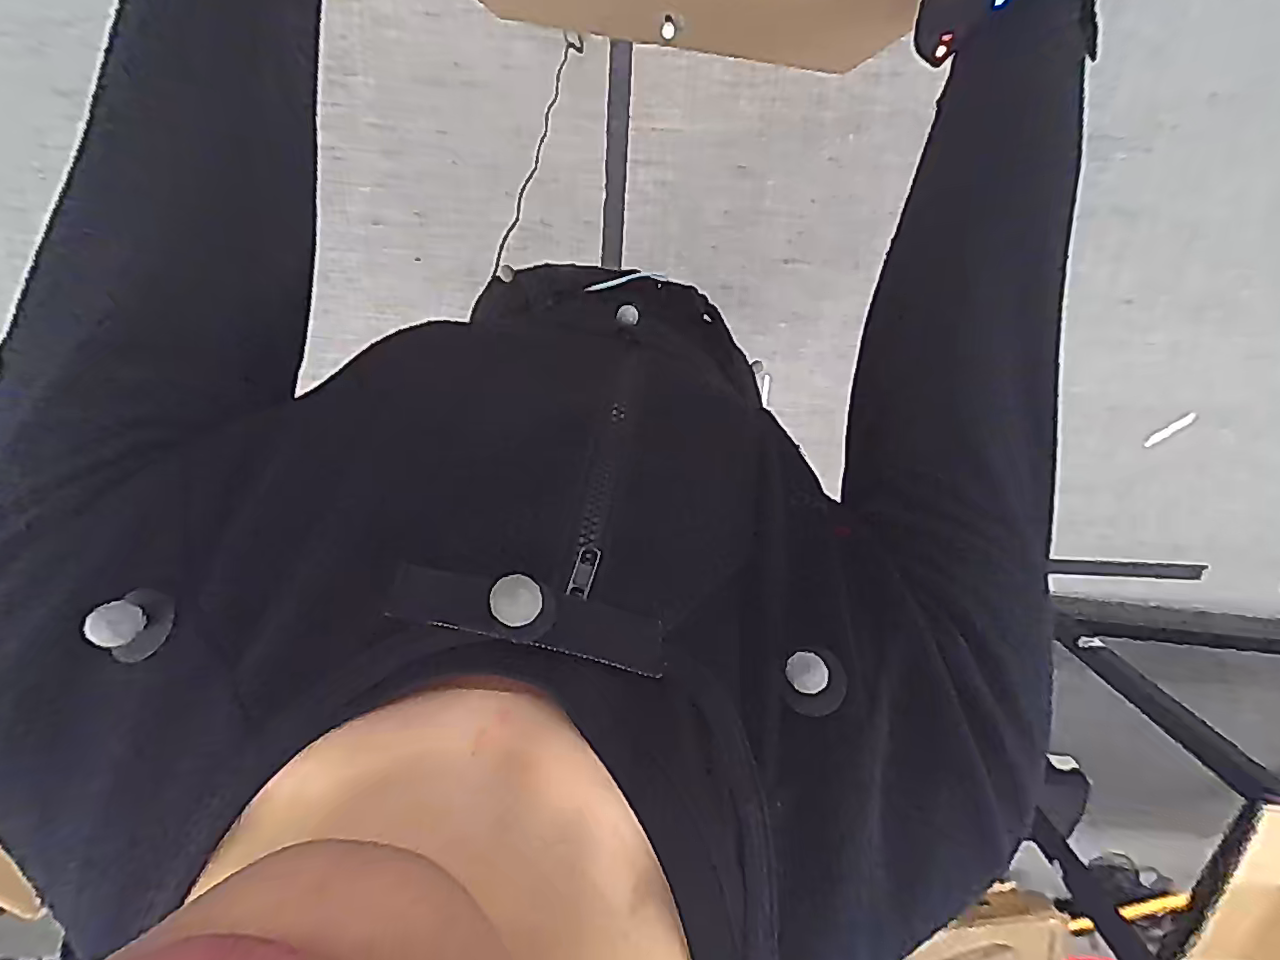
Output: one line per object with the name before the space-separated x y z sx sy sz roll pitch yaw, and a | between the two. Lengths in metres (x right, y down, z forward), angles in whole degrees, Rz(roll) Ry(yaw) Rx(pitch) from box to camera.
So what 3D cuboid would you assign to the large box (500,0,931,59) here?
large box | 0.052 -0.560 0.412 0.408 0.320 0.320 10 118 0
